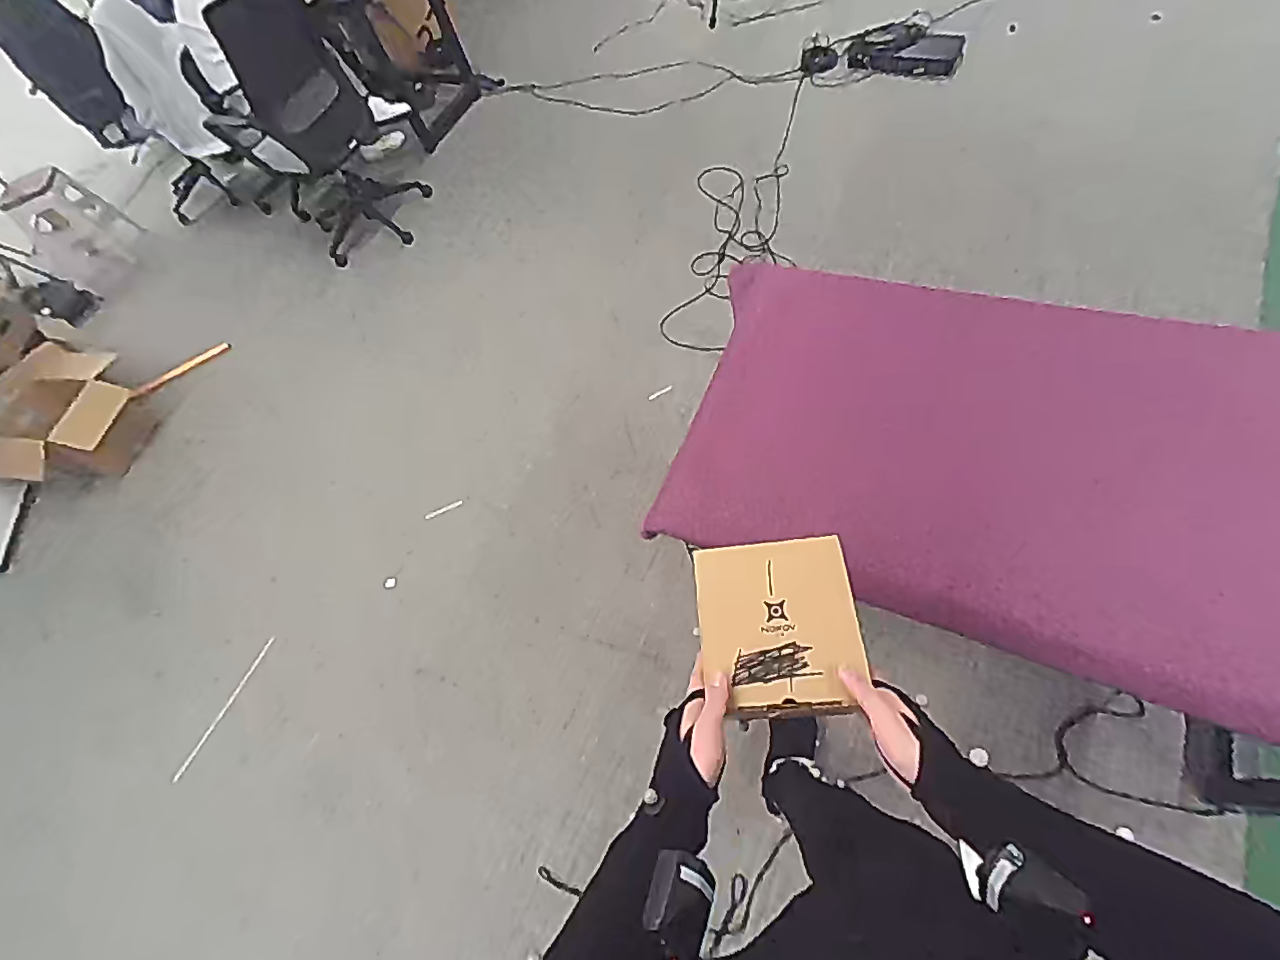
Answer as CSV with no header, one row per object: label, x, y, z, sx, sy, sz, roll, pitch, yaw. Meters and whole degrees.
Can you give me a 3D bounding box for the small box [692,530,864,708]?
small box,0.157,0.176,0.651,0.168,0.176,0.179,-6,62,9
